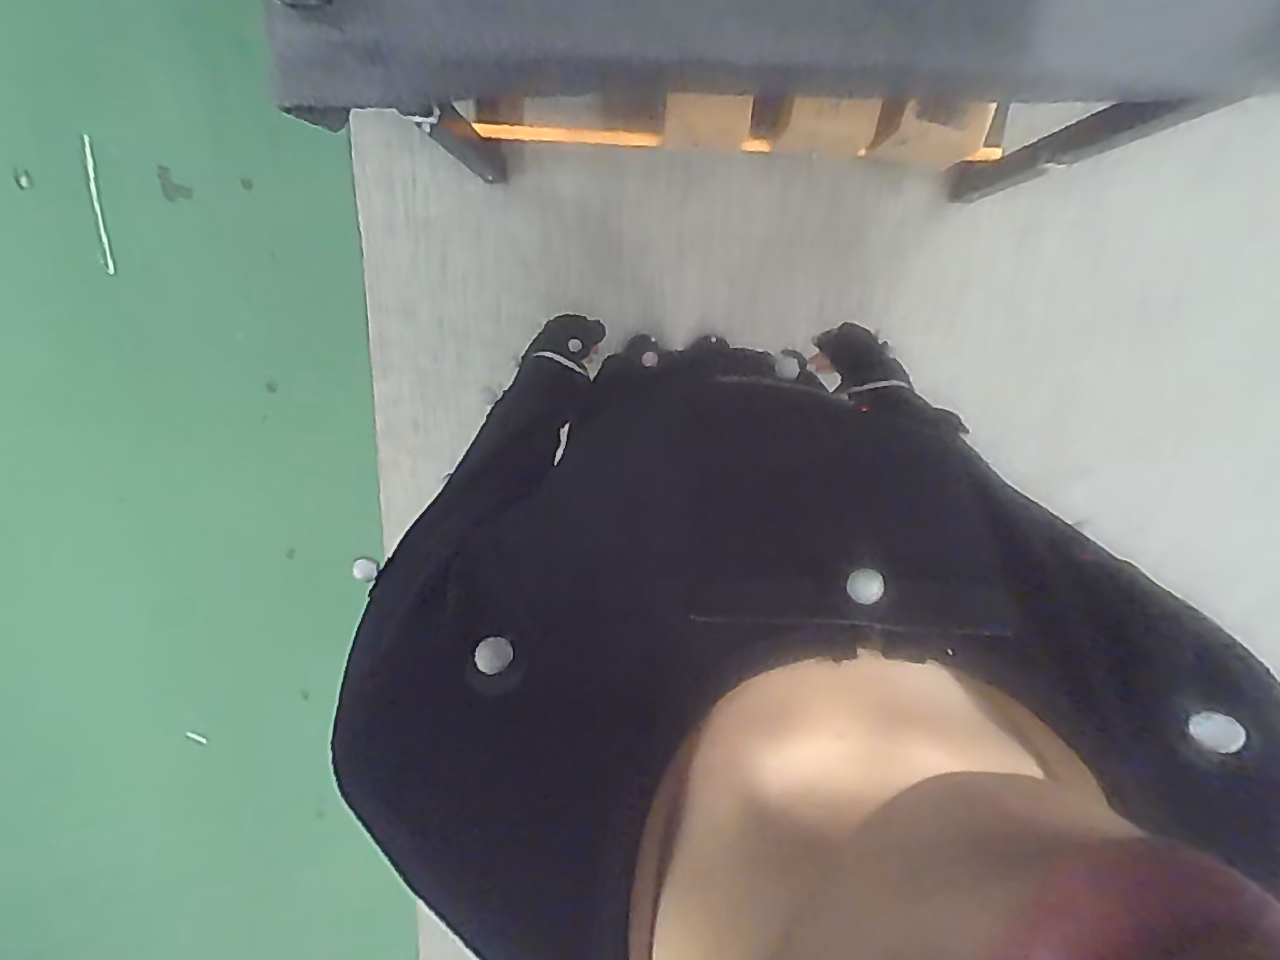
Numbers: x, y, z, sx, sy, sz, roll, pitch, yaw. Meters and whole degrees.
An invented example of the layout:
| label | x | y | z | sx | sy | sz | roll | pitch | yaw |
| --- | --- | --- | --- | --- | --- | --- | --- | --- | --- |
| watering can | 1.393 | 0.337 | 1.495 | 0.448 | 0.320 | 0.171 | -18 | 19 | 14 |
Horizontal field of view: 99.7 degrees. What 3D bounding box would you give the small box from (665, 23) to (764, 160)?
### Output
| label | x | y | z | sx | sy | sz | roll | pitch | yaw |
| --- | --- | --- | --- | --- | --- | --- | --- | --- | --- |
| small box | 0.141 | -0.769 | 1.088 | 0.168 | 0.176 | 0.179 | 5 | 108 | 0 |
